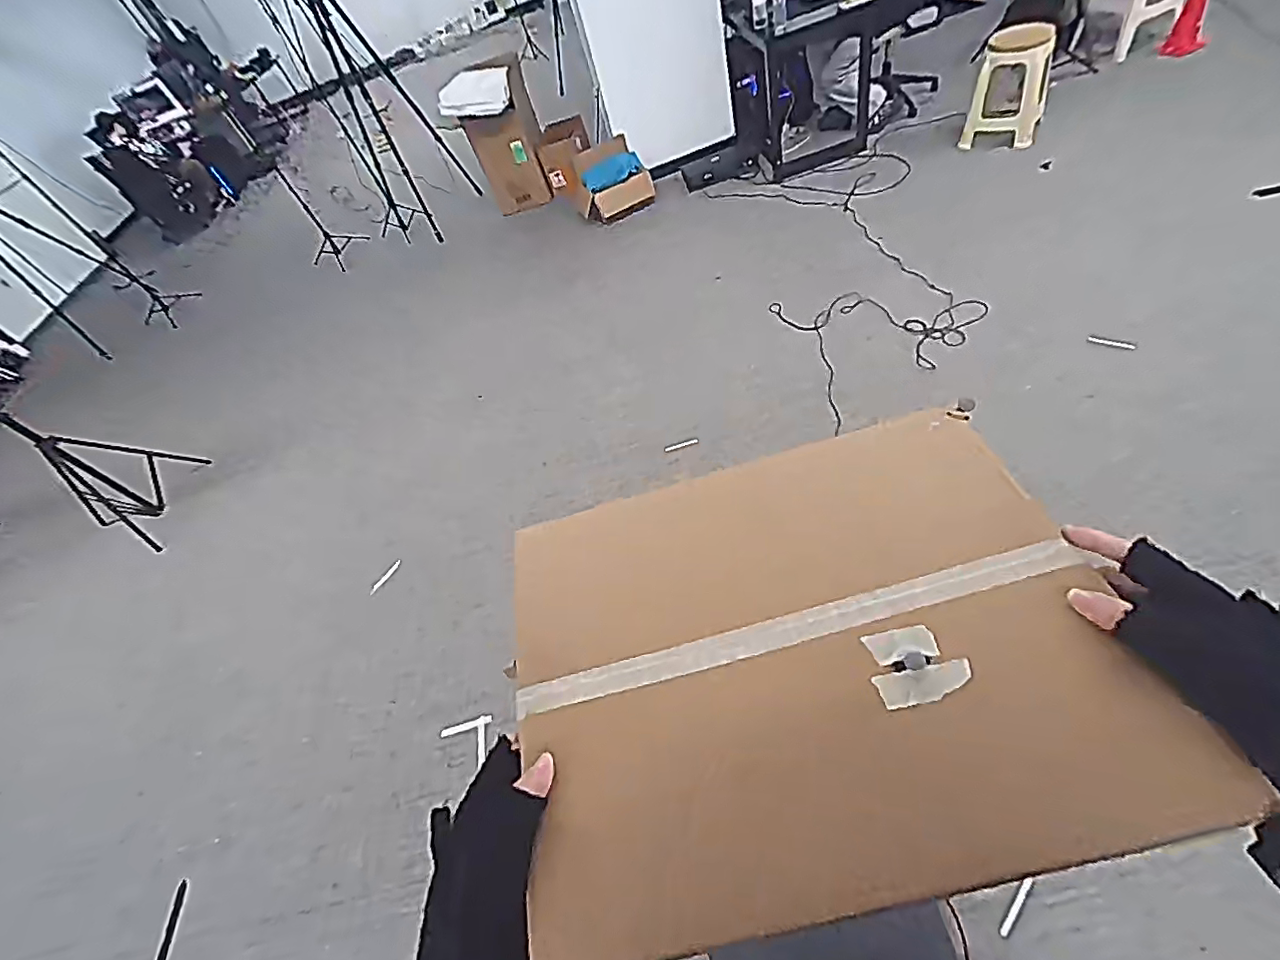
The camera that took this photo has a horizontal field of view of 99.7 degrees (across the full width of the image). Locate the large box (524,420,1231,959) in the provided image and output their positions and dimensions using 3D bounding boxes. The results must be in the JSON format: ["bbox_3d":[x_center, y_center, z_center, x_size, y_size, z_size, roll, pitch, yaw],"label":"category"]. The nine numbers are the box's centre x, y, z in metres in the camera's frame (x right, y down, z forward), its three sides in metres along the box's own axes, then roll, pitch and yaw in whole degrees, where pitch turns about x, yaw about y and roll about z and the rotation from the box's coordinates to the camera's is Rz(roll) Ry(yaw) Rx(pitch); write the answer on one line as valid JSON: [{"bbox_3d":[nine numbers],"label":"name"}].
[{"bbox_3d":[0.141,0.205,0.512,0.408,0.320,0.320,-17,51,3],"label":"large box"}]
